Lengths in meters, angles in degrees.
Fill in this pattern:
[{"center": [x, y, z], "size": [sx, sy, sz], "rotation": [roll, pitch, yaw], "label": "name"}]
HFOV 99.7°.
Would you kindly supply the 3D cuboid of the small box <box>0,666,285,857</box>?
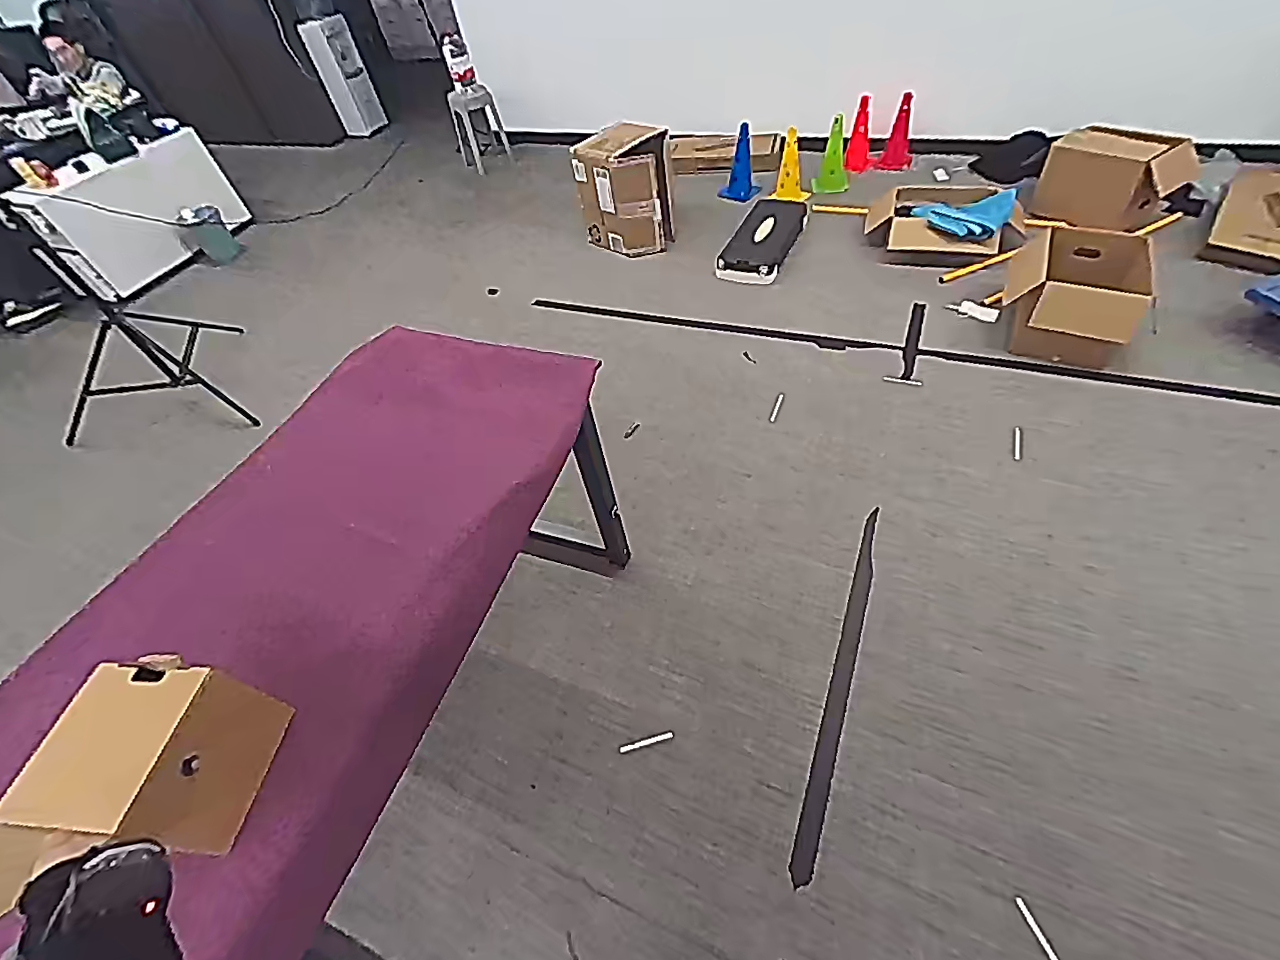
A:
[{"center": [-0.588, 0.347, 0.665], "size": [0.168, 0.176, 0.179], "rotation": [0, 50, 9], "label": "small box"}]
